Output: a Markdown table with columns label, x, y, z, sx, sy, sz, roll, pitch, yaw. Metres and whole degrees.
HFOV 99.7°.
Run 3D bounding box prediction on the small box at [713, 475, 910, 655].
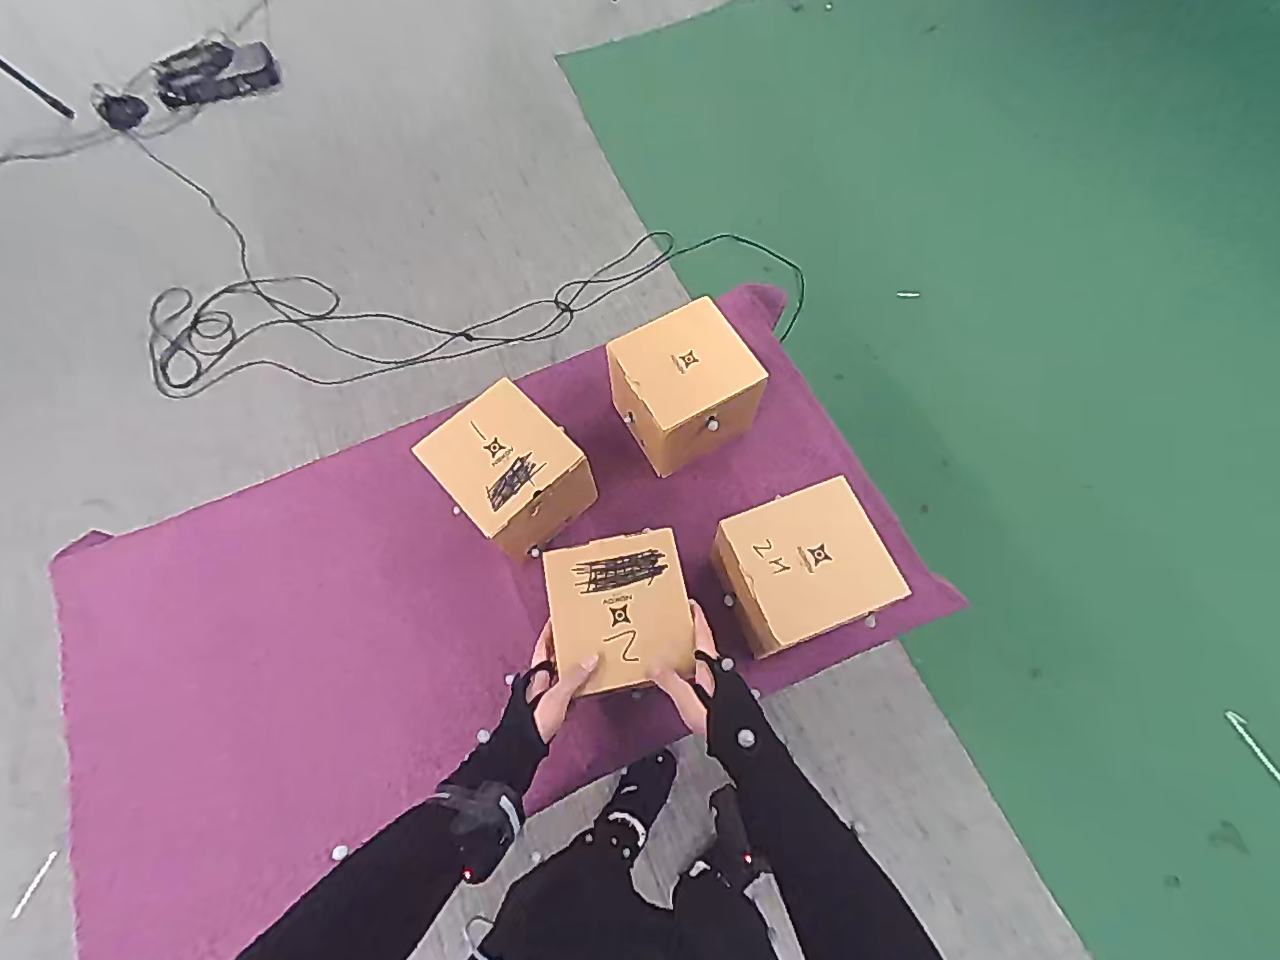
| label | x | y | z | sx | sy | sz | roll | pitch | yaw |
| --- | --- | --- | --- | --- | --- | --- | --- | --- | --- |
| small box | 0.210 | 0.120 | 0.719 | 0.179 | 0.176 | 0.168 | -20 | 68 | -5 |

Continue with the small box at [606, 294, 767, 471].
| label | x | y | z | sx | sy | sz | roll | pitch | yaw |
| --- | --- | --- | --- | --- | --- | --- | --- | --- | --- |
| small box | 0.066 | -0.141 | 0.831 | 0.179 | 0.176 | 0.168 | -29 | 71 | -7 |

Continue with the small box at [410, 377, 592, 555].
| label | x | y | z | sx | sy | sz | roll | pitch | yaw |
| --- | --- | --- | --- | --- | --- | --- | --- | --- | --- |
| small box | -0.188 | -0.008 | 0.788 | 0.168 | 0.176 | 0.179 | -42 | 73 | -13 |
